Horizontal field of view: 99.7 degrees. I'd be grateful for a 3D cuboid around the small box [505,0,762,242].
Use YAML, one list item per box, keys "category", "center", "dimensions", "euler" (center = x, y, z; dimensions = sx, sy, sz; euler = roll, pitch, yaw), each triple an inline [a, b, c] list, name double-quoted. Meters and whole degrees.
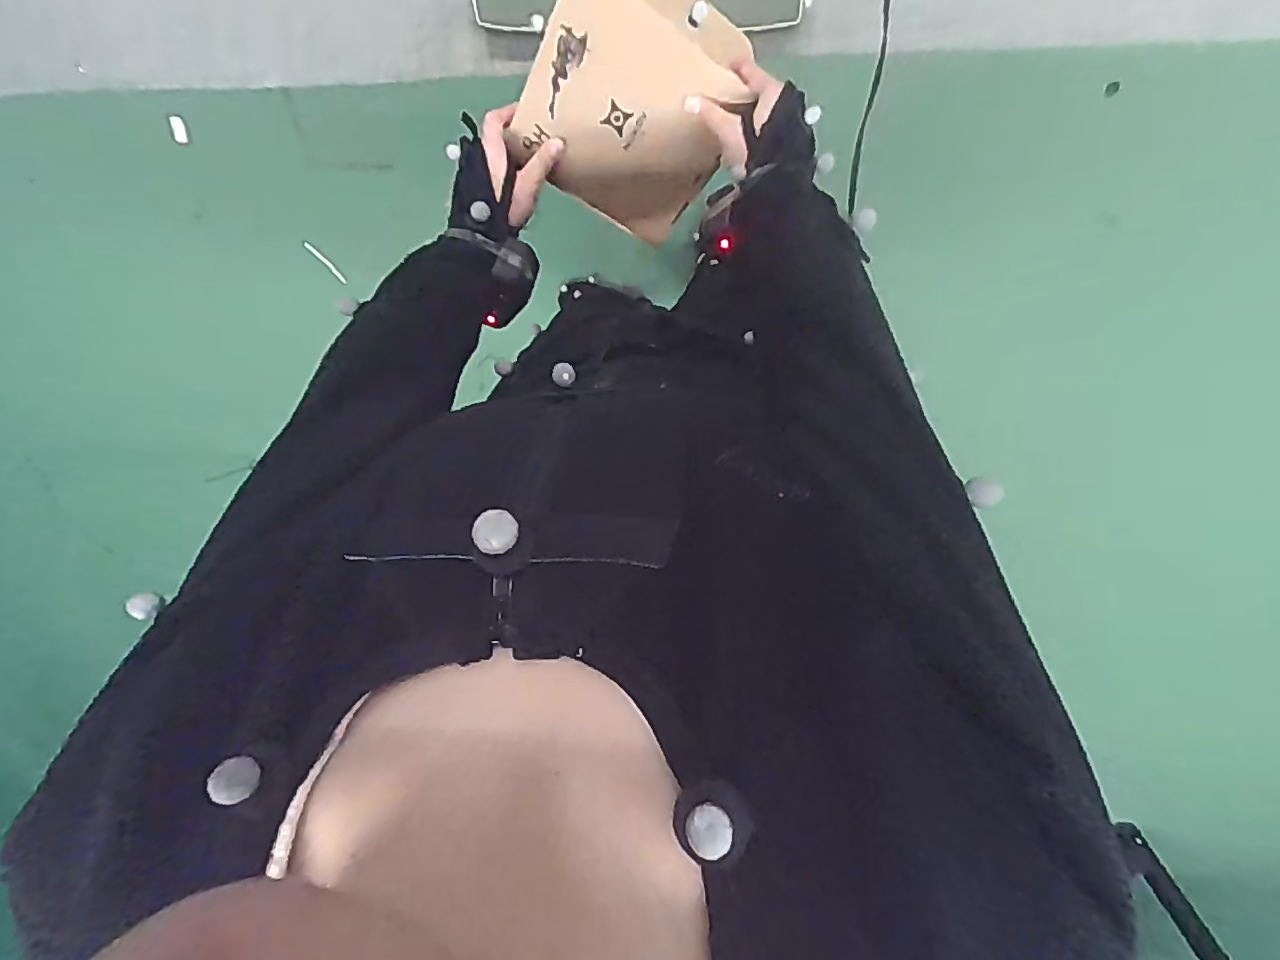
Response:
- category: "small box"
  center: [-0.005, -0.382, 0.527]
  dimensions: [0.179, 0.176, 0.168]
  euler: [24, 137, -24]
